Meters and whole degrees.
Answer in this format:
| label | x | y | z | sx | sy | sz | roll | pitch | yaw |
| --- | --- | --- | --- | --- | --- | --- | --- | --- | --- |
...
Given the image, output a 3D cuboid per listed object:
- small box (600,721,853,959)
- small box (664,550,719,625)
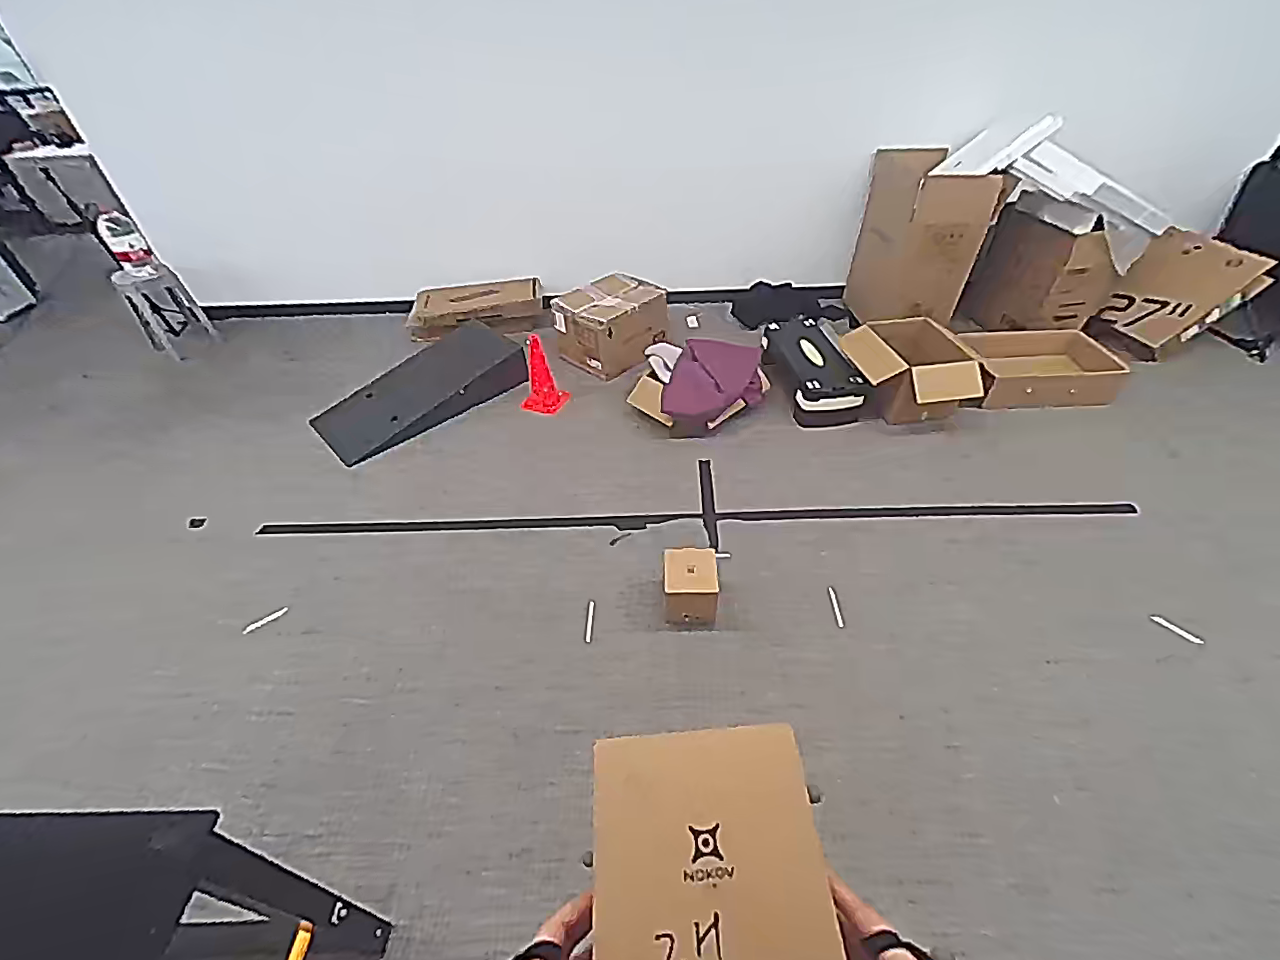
| label | x | y | z | sx | sy | sz | roll | pitch | yaw |
| --- | --- | --- | --- | --- | --- | --- | --- | --- | --- |
| small box | 0.060 | 0.321 | 0.445 | 0.168 | 0.176 | 0.179 | -7 | 48 | 3 |
| small box | 0.161 | 0.345 | 1.740 | 0.168 | 0.176 | 0.179 | -2 | 43 | 3 |
